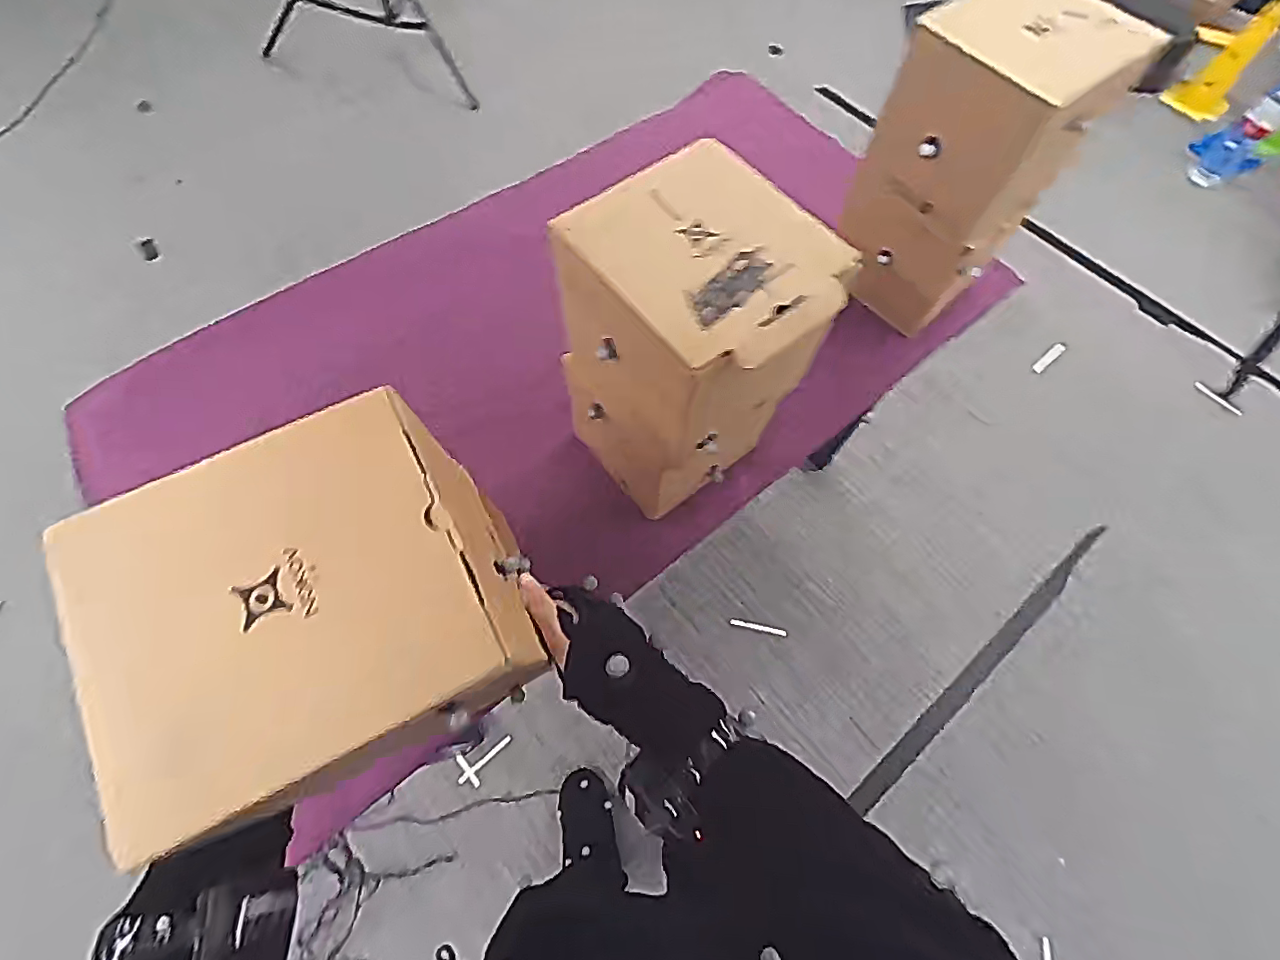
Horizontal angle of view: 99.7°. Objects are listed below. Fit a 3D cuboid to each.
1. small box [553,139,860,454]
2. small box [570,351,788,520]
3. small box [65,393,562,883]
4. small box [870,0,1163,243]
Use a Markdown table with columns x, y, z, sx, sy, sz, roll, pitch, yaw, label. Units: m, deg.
| x | y | z | sx | sy | sz | roll | pitch | yaw | label |
| --- | --- | --- | --- | --- | --- | --- | --- | --- | --- |
| 0.048 | -0.144 | 0.478 | 0.168 | 0.176 | 0.179 | -36 | 72 | -15 | small box |
| 0.038 | -0.083 | 0.631 | 0.179 | 0.176 | 0.168 | -36 | 73 | -16 | small box |
| -0.163 | 0.084 | 0.326 | 0.179 | 0.176 | 0.168 | -26 | 75 | -11 | small box |
| 0.383 | -0.400 | 0.593 | 0.179 | 0.176 | 0.168 | -35 | 72 | -14 | small box |
